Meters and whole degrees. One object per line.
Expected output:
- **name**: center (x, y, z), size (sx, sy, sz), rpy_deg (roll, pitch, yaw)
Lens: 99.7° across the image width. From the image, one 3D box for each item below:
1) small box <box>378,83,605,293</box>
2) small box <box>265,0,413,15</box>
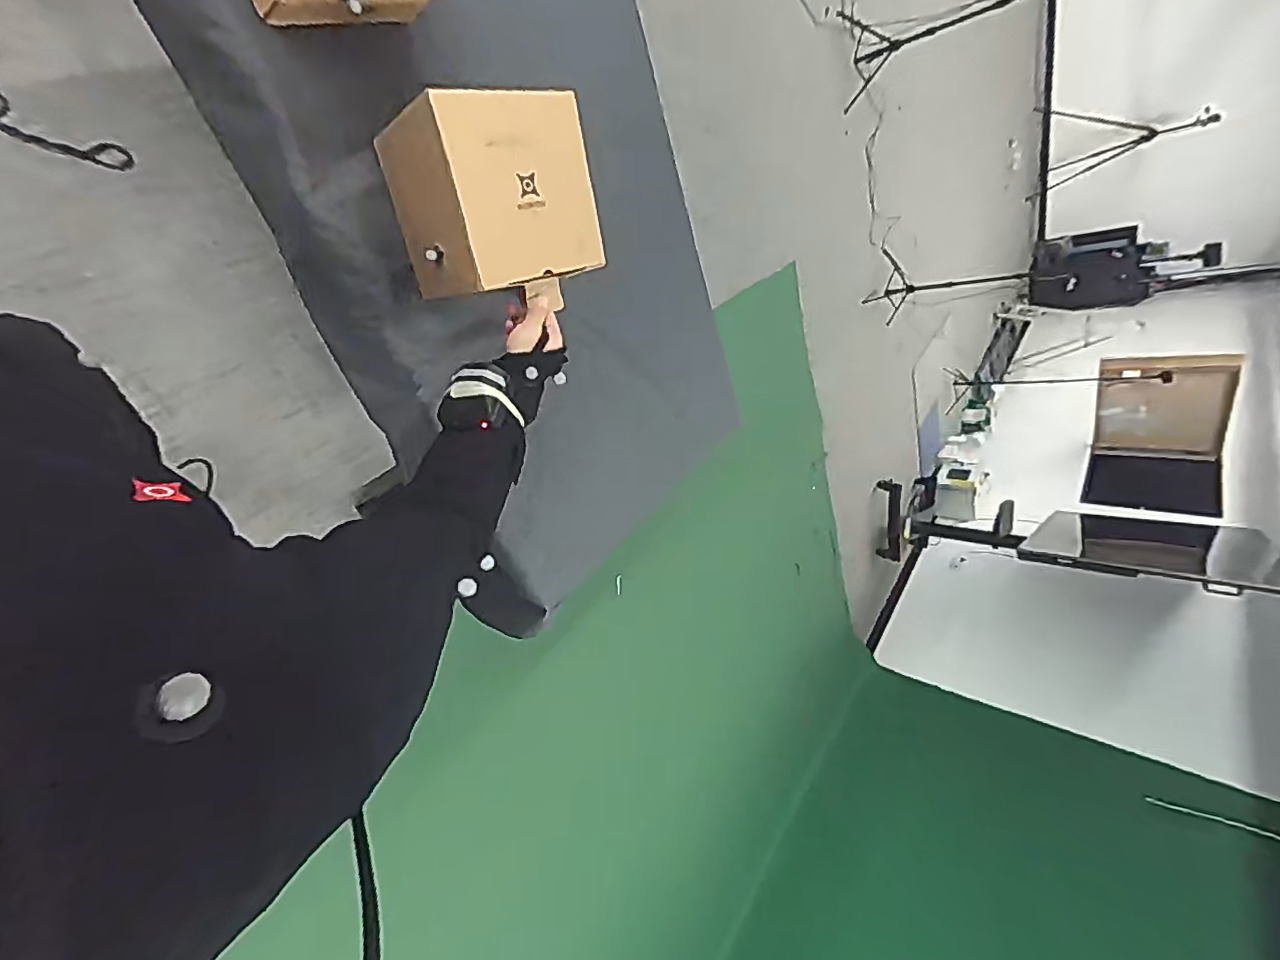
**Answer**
- **small box**: center (-0.167, -0.316, 0.613), size (0.168, 0.176, 0.179), rpy_deg (-28, 117, -35)
- **small box**: center (-0.274, -0.547, 0.467), size (0.168, 0.176, 0.179), rpy_deg (-42, 126, -37)
